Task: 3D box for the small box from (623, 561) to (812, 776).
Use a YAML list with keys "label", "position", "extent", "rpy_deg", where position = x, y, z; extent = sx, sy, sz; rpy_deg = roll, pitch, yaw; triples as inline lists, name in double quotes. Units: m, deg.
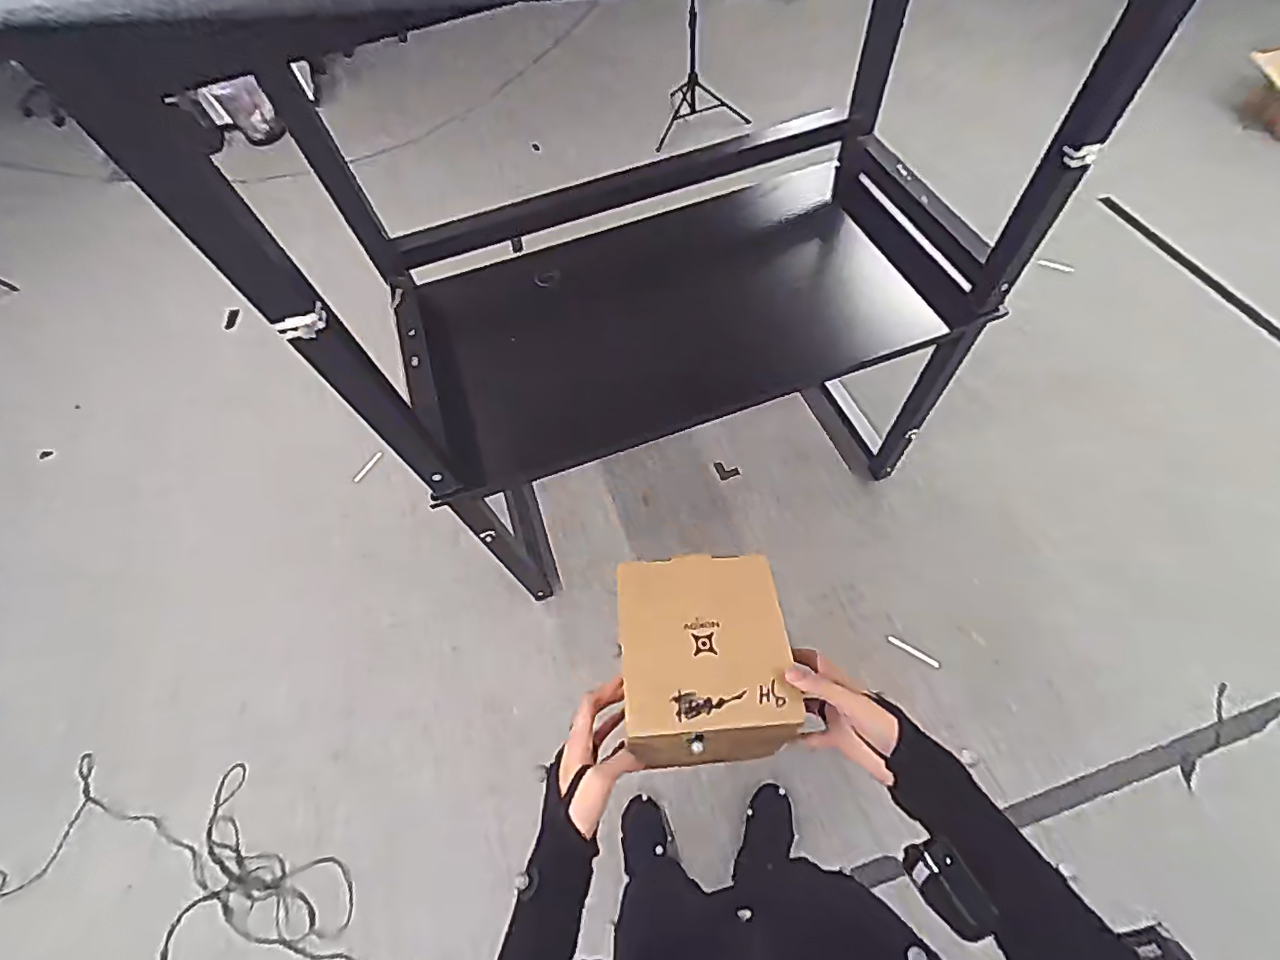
- label: "small box"
  position: [0.067, 0.208, 0.592]
  extent: [0.168, 0.176, 0.179]
  rpy_deg: [-3, 53, -3]
